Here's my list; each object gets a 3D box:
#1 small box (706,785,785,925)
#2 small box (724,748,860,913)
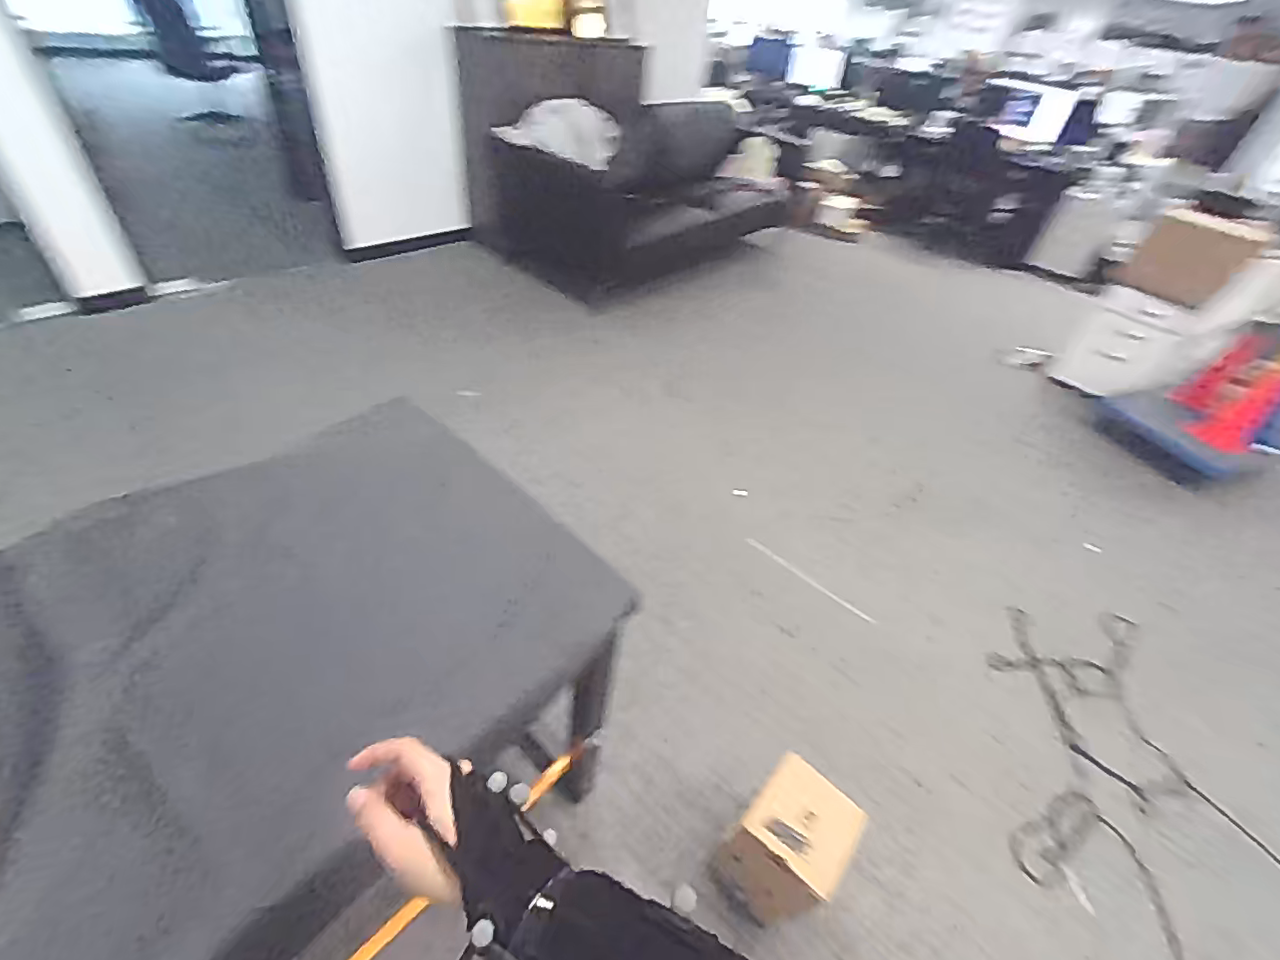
[{"bbox_3d":[0.258,0.767,1.125,0.168,0.176,0.179,35,47,27],"label":"small box"},{"bbox_3d":[0.273,0.653,1.007,0.168,0.176,0.179,34,46,25],"label":"small box"}]
